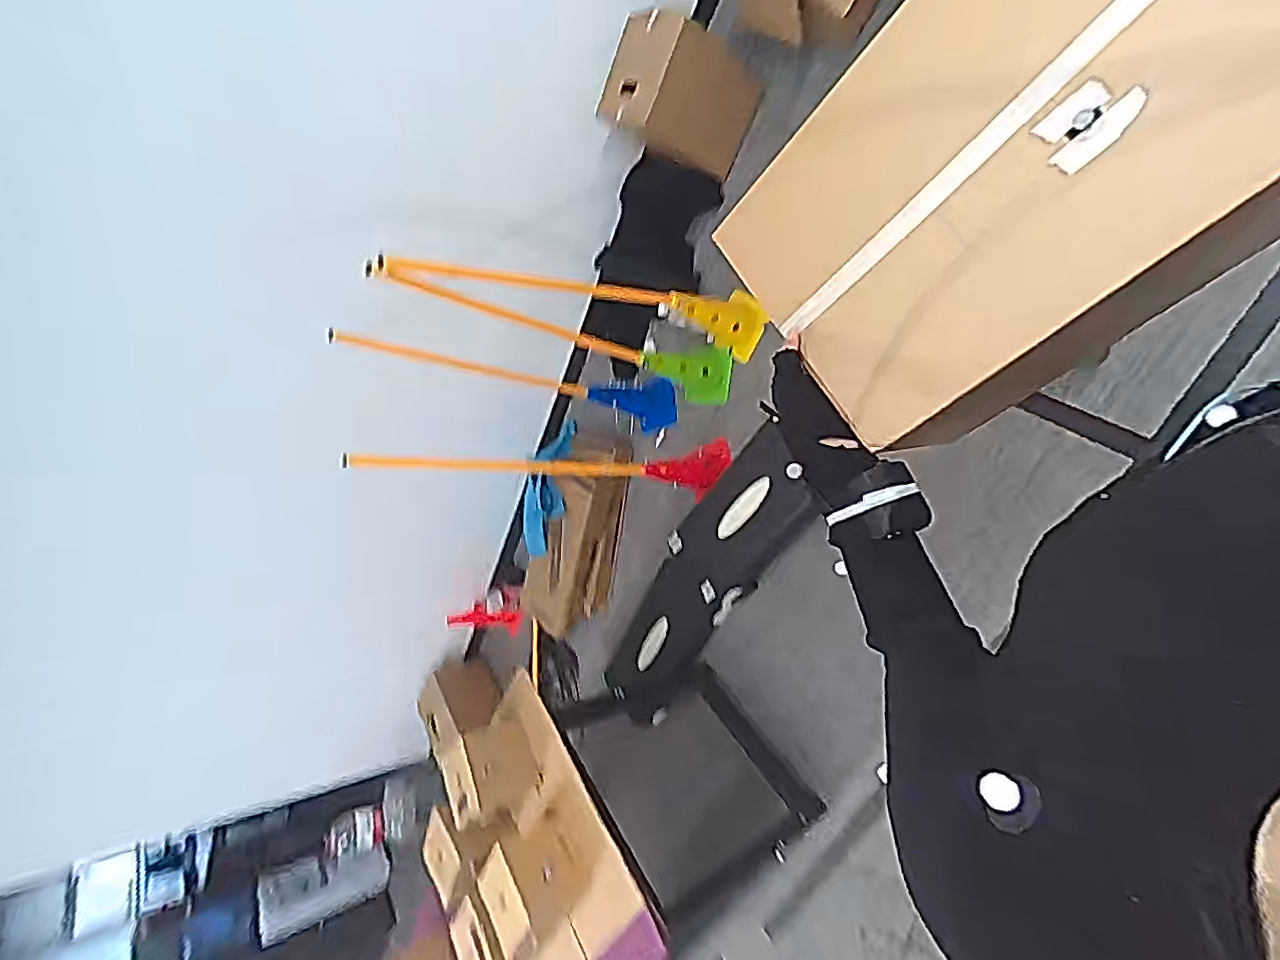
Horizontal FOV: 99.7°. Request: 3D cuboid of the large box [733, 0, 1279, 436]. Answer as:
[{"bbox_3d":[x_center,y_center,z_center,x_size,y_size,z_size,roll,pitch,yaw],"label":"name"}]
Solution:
[{"bbox_3d":[0.387,-0.282,0.576,0.408,0.320,0.320,-41,68,36],"label":"large box"}]
